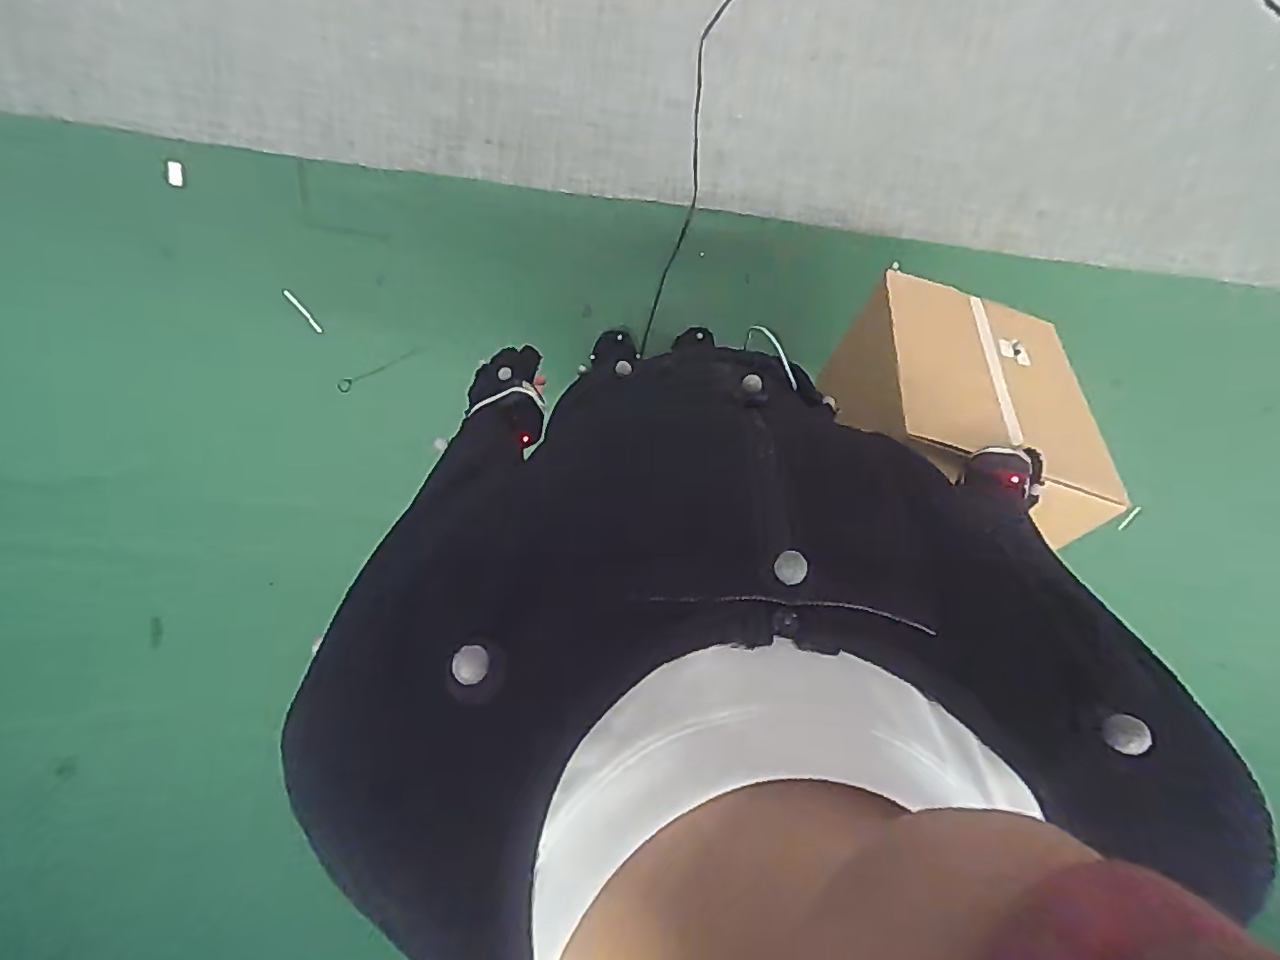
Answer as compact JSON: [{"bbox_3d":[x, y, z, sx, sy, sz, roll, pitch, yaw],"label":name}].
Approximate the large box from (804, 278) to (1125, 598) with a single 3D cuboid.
[{"bbox_3d":[0.492,-0.069,0.931,0.320,0.408,0.320,18,141,-3],"label":"large box"}]
